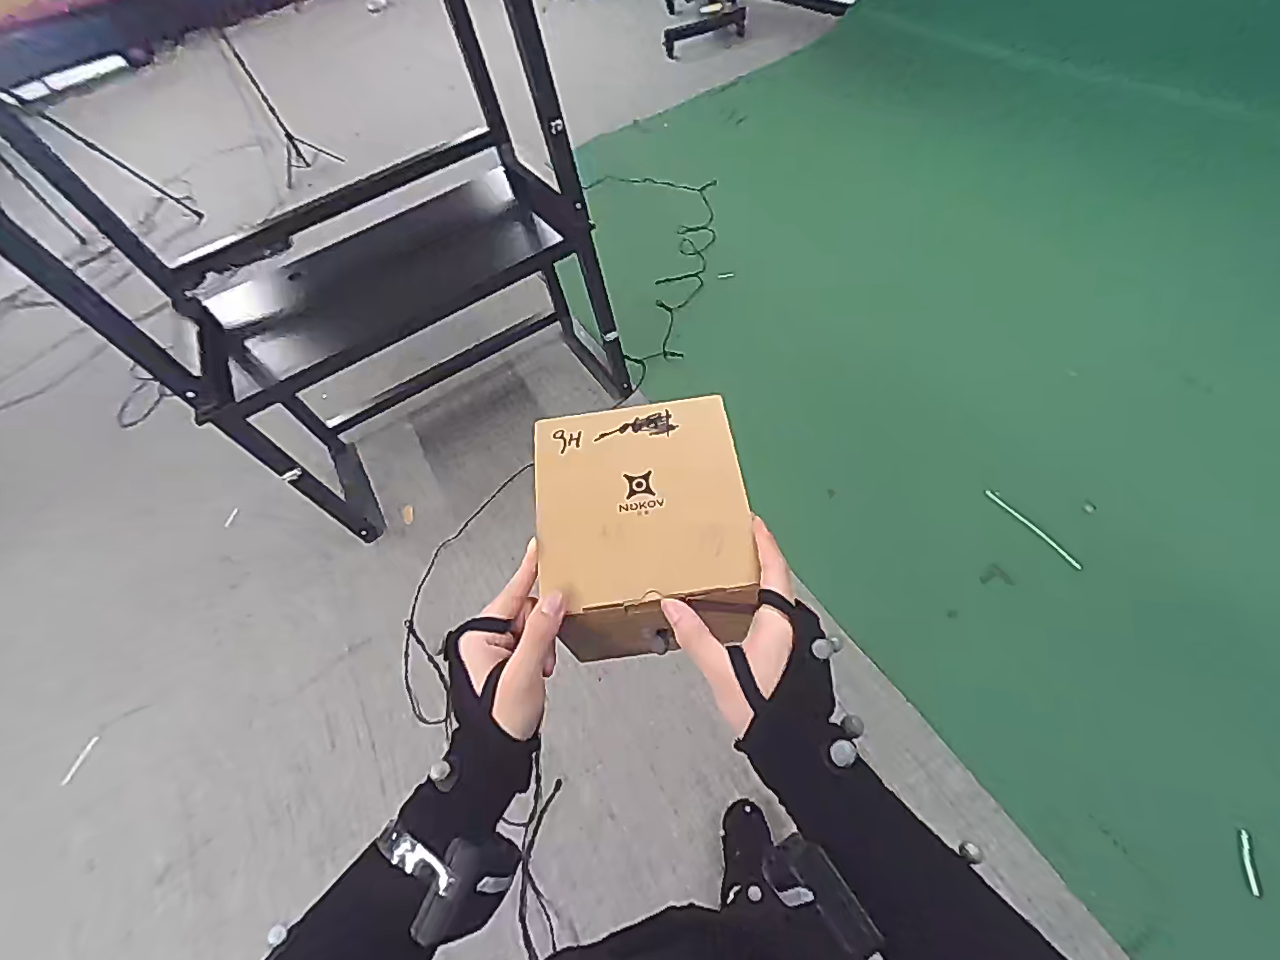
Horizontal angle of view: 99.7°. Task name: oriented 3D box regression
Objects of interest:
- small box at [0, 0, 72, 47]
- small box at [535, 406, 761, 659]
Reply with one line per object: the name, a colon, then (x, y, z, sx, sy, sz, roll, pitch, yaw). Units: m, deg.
small box: (-1.127, -0.845, 0.903, 0.179, 0.176, 0.168, -33, 56, -11)
small box: (0.006, 0.060, 0.500, 0.168, 0.176, 0.179, -9, 61, 0)
